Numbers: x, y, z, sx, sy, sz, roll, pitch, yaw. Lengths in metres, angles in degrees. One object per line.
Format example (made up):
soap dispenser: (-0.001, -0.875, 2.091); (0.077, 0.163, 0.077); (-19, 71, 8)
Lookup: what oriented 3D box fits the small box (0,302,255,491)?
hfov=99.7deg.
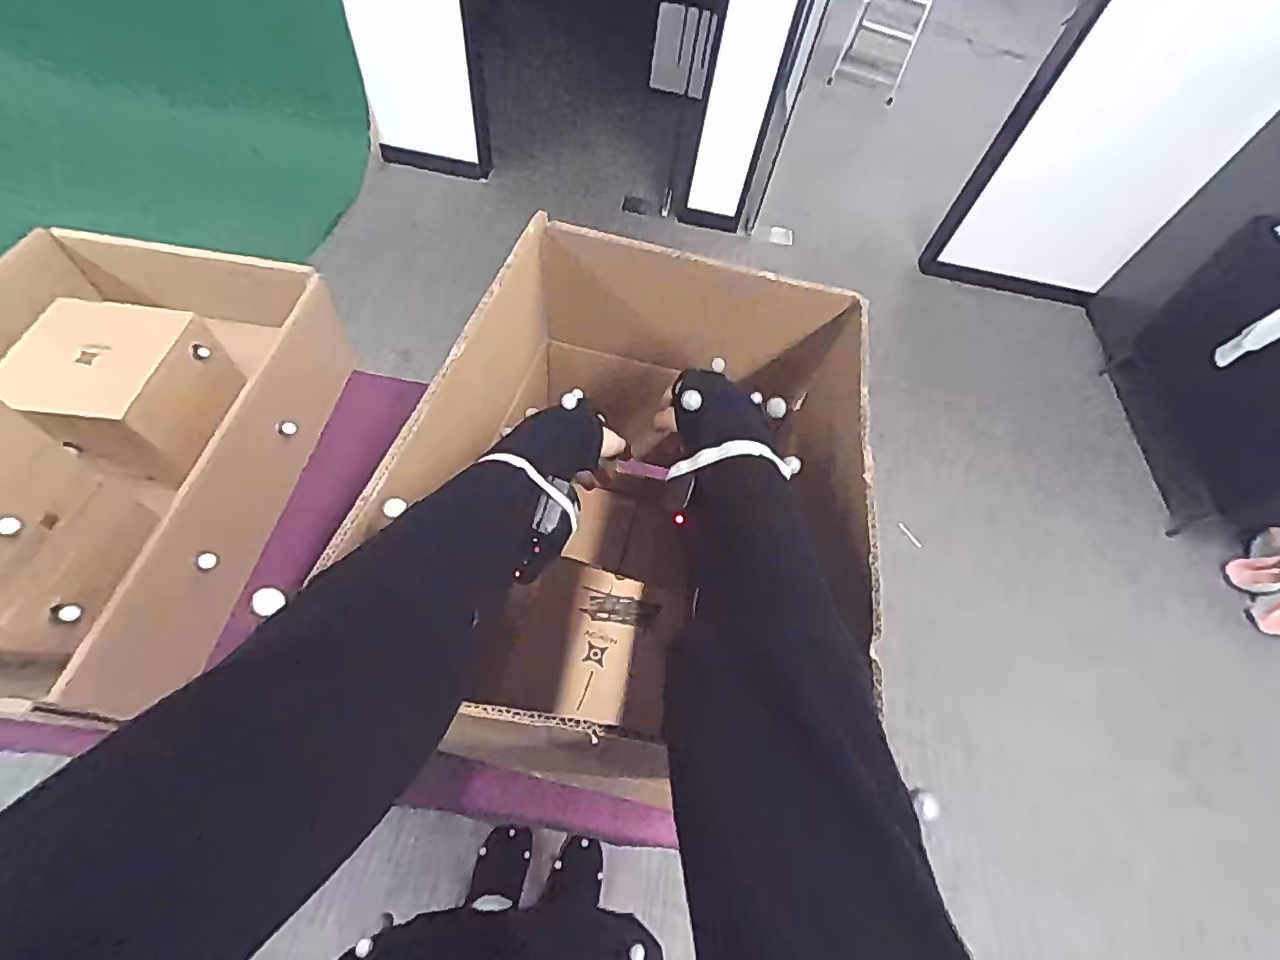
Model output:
small box: (-0.653, -0.102, 0.707); (0.168, 0.176, 0.179); (5, 58, -3)

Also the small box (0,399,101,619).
small box: (-0.628, 0.012, 0.439); (0.179, 0.176, 0.168); (8, 57, -2)
